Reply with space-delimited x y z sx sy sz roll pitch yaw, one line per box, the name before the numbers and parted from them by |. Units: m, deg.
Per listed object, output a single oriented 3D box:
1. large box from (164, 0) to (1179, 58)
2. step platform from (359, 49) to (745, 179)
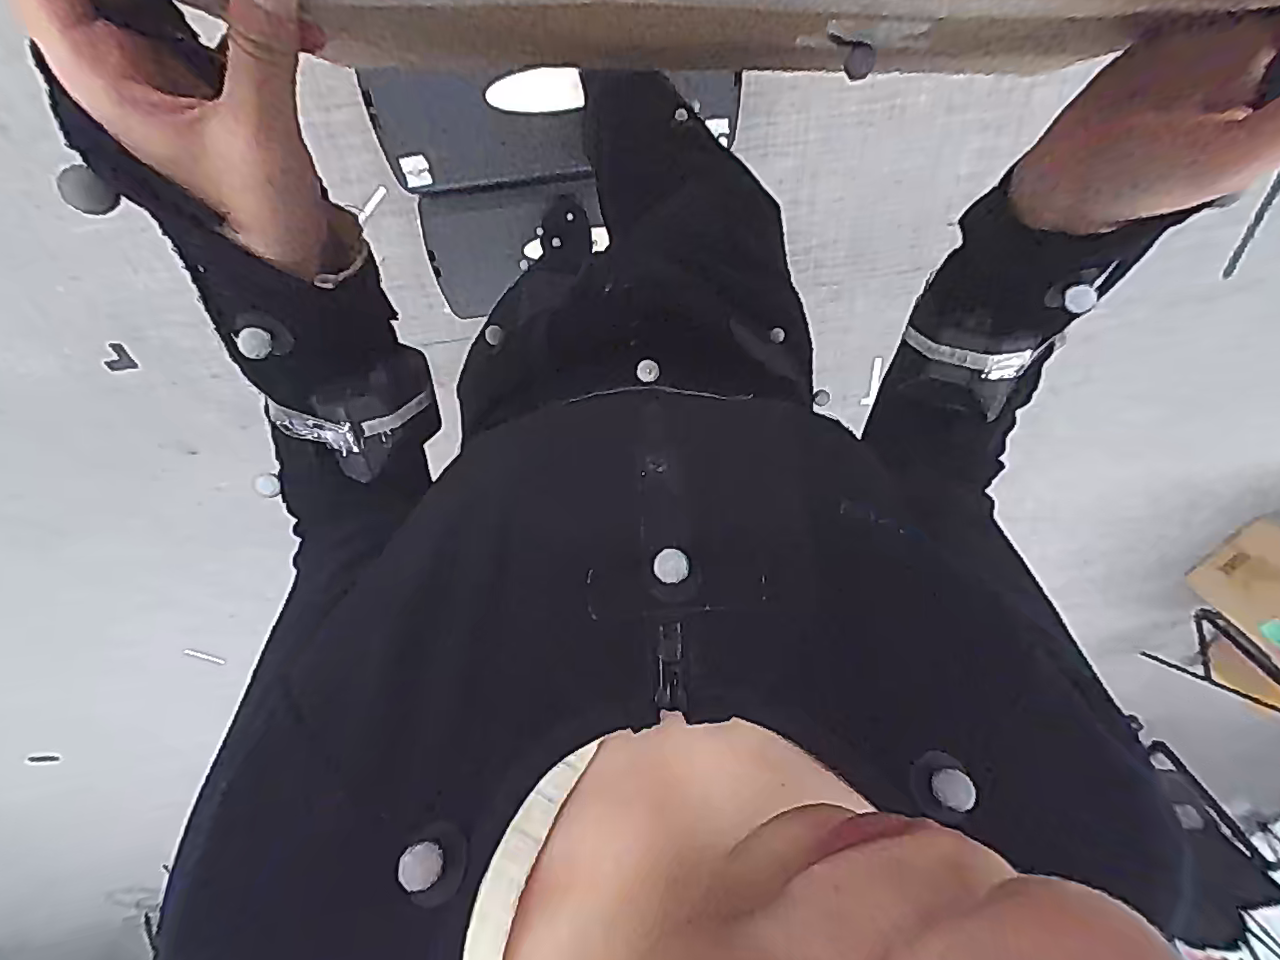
large box | 0.015 -0.305 0.103 0.408 0.320 0.320 -1 120 0
step platform | -0.150 -0.745 1.012 0.684 0.204 0.286 -5 130 -5
